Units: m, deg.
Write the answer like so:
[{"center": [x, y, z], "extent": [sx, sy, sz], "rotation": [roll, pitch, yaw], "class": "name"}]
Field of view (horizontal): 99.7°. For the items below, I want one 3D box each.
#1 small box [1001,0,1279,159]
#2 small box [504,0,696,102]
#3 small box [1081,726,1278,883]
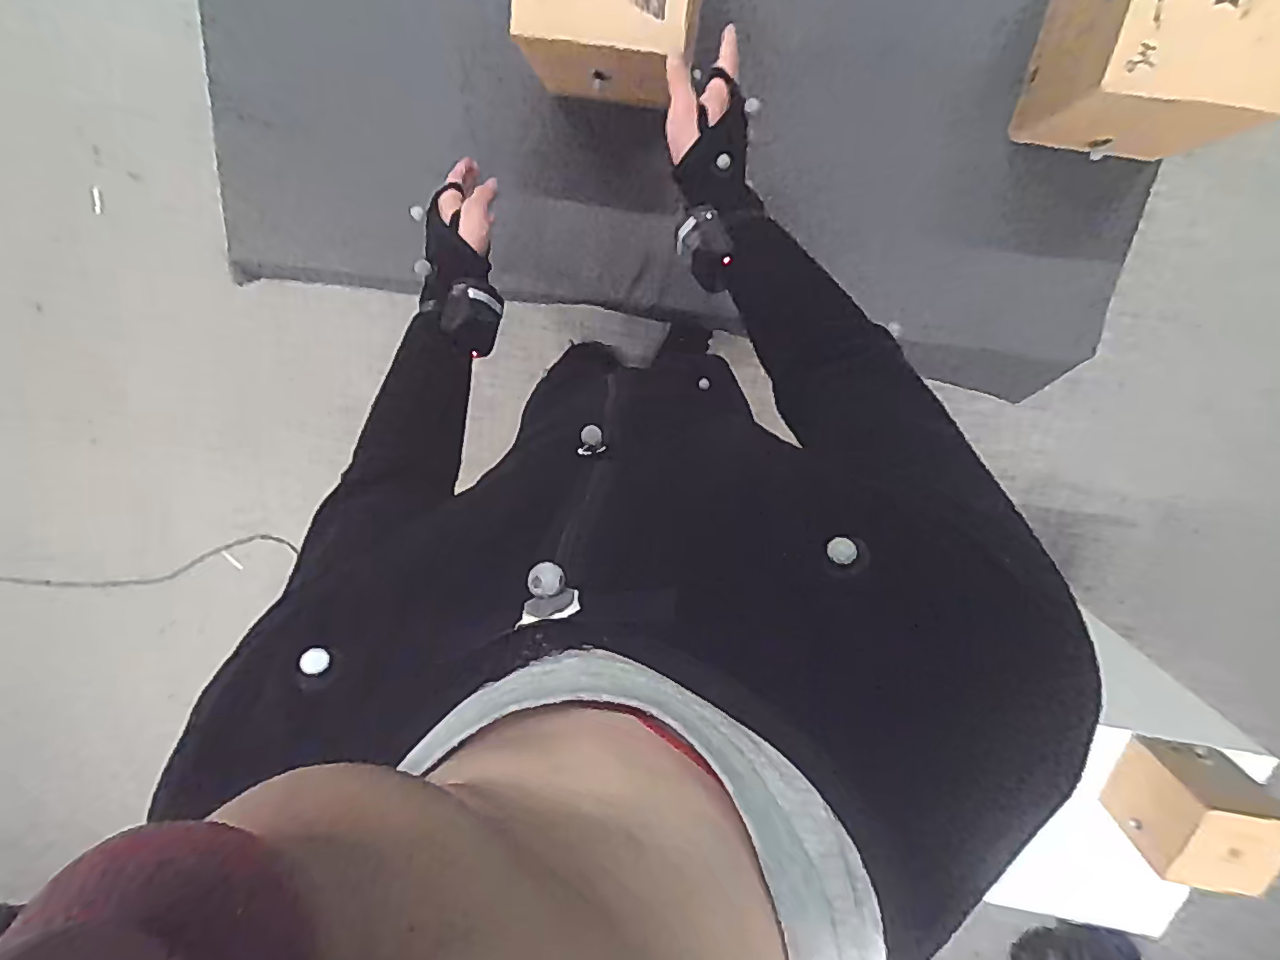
[{"center": [0.526, -0.448, 0.554], "extent": [0.179, 0.176, 0.168], "rotation": [10, 108, 0], "class": "small box"}, {"center": [-0.027, -0.526, 0.565], "extent": [0.179, 0.176, 0.168], "rotation": [10, 108, 1], "class": "small box"}, {"center": [0.979, 0.596, 1.005], "extent": [0.168, 0.176, 0.179], "rotation": [7, 108, 0], "class": "small box"}]
